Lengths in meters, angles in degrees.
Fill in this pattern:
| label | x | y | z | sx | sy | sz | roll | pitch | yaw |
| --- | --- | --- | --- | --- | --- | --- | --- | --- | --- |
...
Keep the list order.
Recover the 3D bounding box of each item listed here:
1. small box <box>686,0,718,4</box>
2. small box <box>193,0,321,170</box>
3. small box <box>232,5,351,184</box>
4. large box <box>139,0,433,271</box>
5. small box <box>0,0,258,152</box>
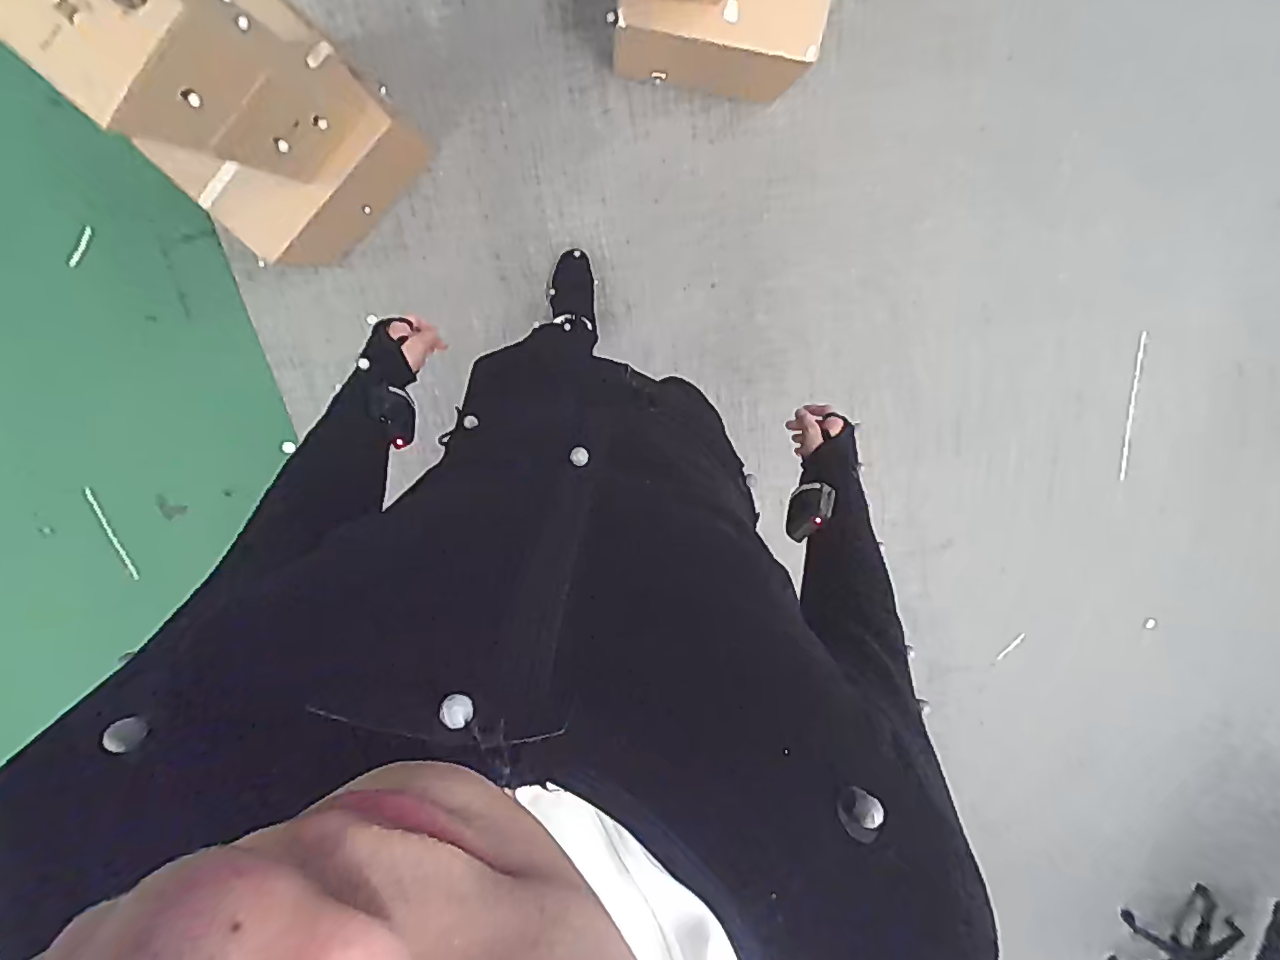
| label | x | y | z | sx | sy | sz | roll | pitch | yaw |
| --- | --- | --- | --- | --- | --- | --- | --- | --- | --- |
| small box | 0.078 | -0.944 | 0.909 | 0.168 | 0.176 | 0.179 | -1 | 112 | -4 |
| small box | -0.634 | -0.604 | 0.811 | 0.168 | 0.176 | 0.179 | -40 | 109 | 12 |
| small box | -0.652 | -0.665 | 0.961 | 0.179 | 0.176 | 0.168 | -42 | 108 | 12 |
| large box | -0.742 | -0.725 | 1.196 | 0.408 | 0.320 | 0.320 | -41 | 107 | 12 |
| small box | -0.618 | -0.544 | 0.660 | 0.179 | 0.176 | 0.168 | -41 | 108 | 13 |
